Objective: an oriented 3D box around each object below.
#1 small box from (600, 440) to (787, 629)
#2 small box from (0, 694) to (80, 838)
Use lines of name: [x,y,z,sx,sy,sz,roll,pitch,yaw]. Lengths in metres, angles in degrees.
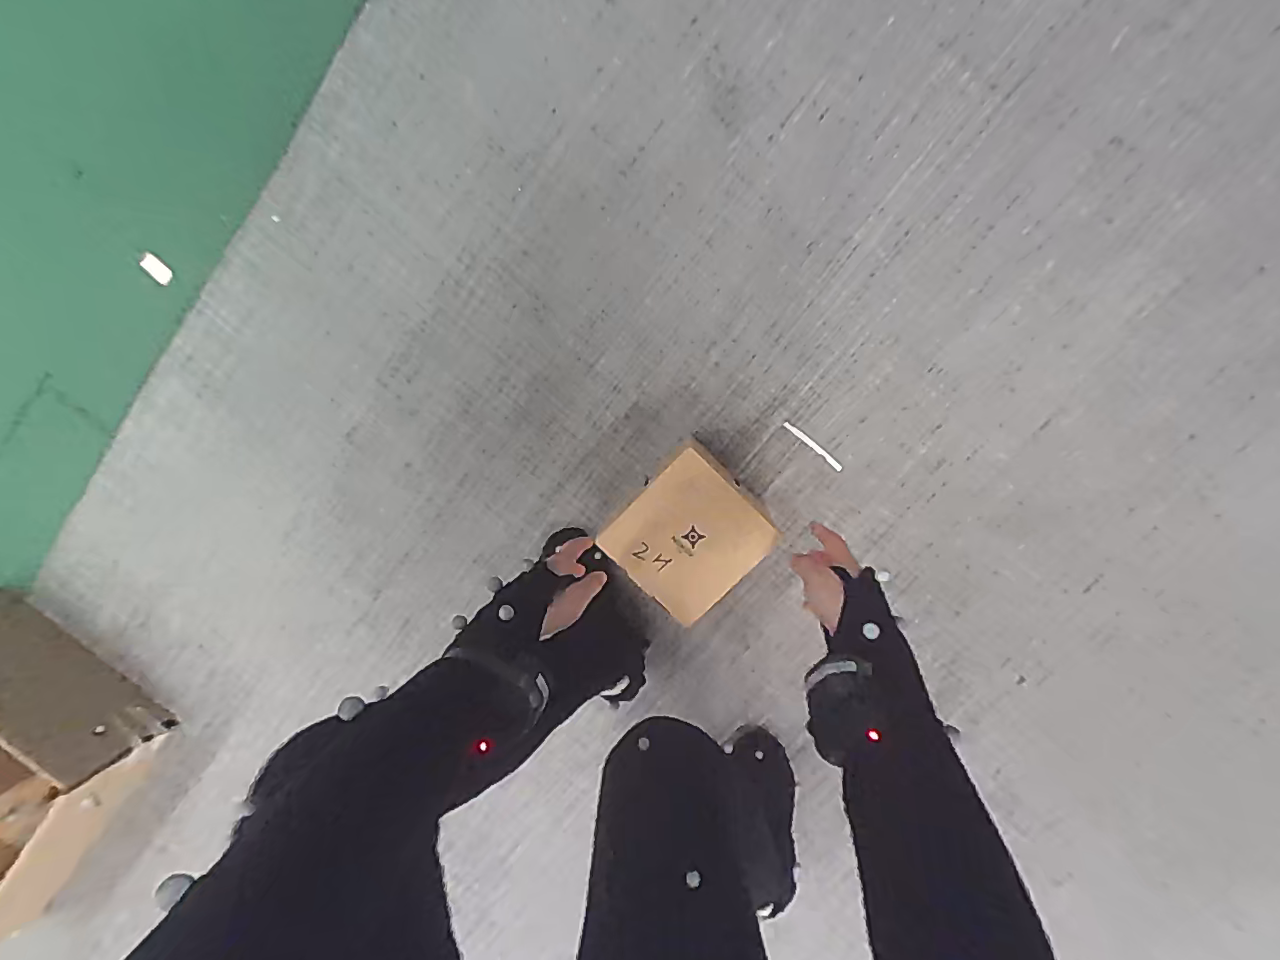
small box: [0.070,0.061,0.745,0.168,0.176,0.179,44,101,-3]
small box: [-1.072,0.484,0.864,0.168,0.176,0.179,40,102,-3]
